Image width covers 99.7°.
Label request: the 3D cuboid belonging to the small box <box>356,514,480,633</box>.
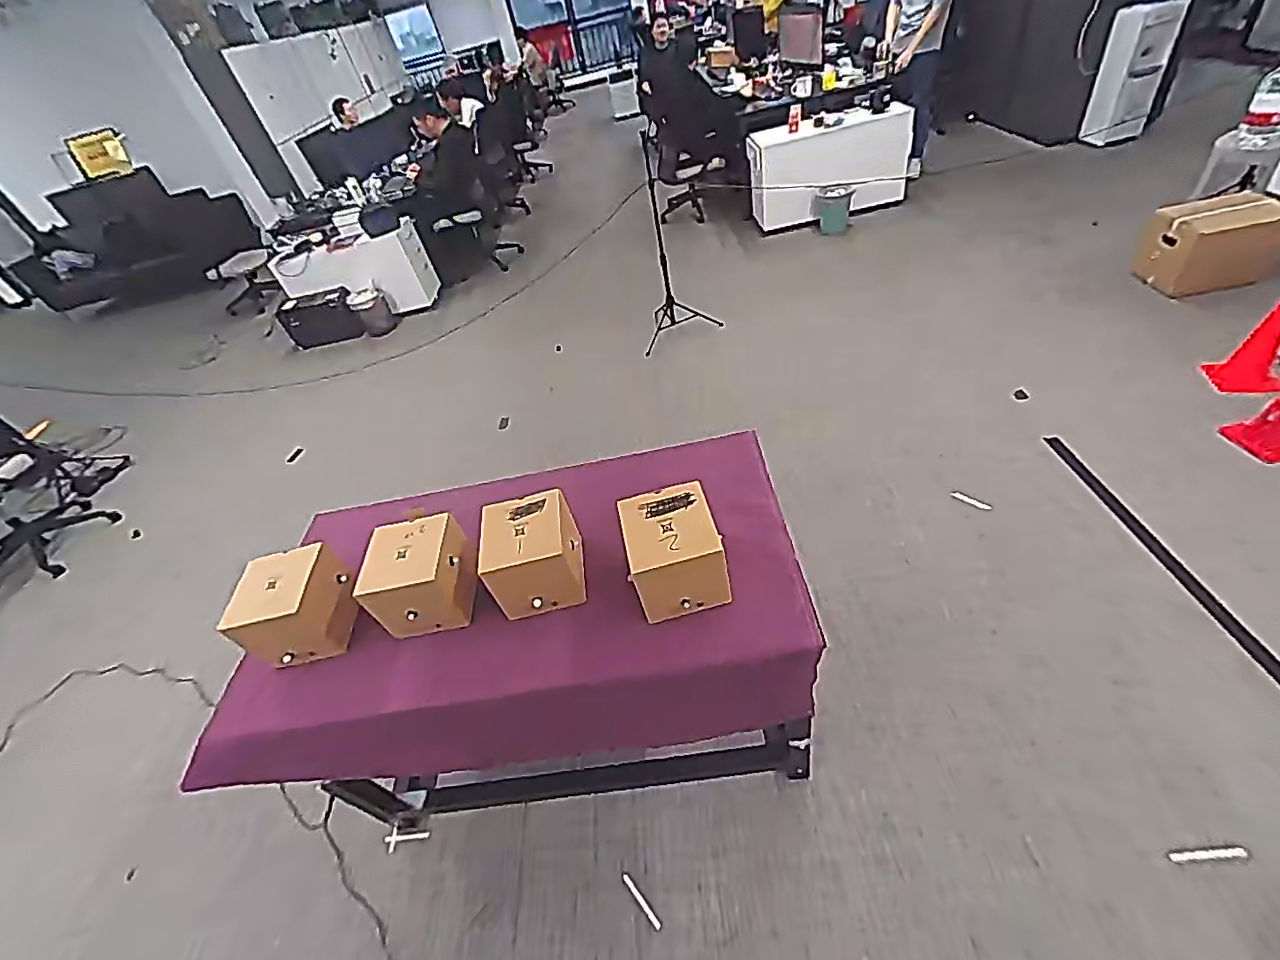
[{"bbox_3d":[-0.452,0.203,1.134,0.168,0.176,0.179,-11,43,4],"label":"small box"}]

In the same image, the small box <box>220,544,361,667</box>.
[{"bbox_3d":[-0.719,0.266,1.145,0.168,0.176,0.179,-13,42,3],"label":"small box"}]

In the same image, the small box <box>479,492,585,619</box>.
[{"bbox_3d":[-0.215,0.156,1.117,0.168,0.176,0.179,-14,43,2],"label":"small box"}]
